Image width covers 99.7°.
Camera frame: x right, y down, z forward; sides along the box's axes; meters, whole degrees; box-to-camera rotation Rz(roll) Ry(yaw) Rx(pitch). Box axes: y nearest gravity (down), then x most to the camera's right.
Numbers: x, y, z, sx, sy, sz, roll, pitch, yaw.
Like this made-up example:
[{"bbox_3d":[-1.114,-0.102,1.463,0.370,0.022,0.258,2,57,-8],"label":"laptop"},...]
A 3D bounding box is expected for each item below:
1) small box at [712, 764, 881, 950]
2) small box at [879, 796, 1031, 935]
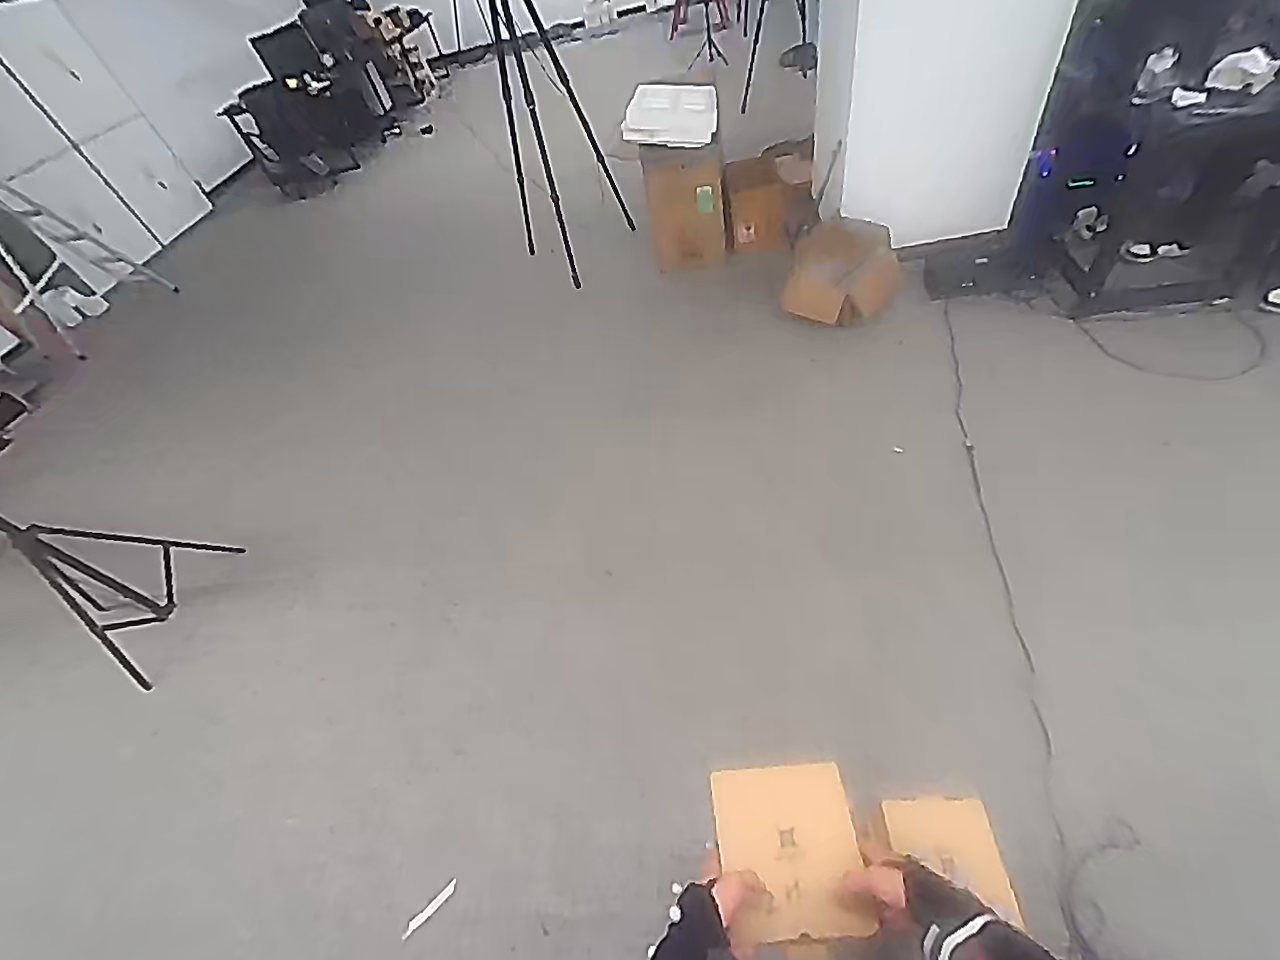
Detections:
[{"bbox_3d":[0.184,0.486,0.697,0.168,0.176,0.179,-7,51,4],"label":"small box"},{"bbox_3d":[0.521,0.660,0.927,0.168,0.176,0.179,-8,48,11],"label":"small box"}]
